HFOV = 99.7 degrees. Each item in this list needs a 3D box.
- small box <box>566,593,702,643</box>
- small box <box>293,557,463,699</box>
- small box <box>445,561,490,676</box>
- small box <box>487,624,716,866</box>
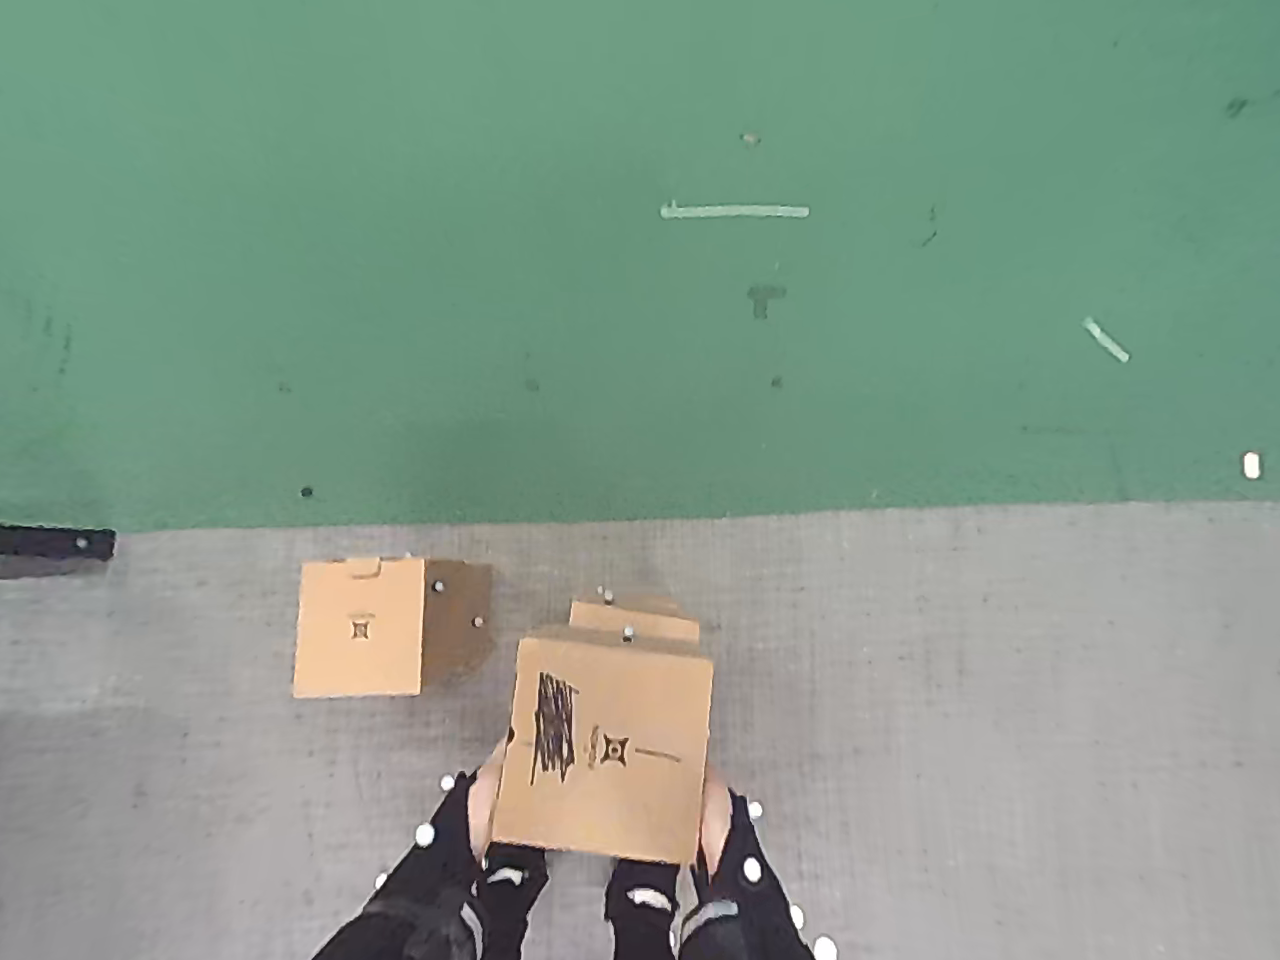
[{"bbox_3d":[-0.019,0.258,0.770,0.179,0.176,0.168,9,82,0],"label":"small box"},{"bbox_3d":[-0.362,0.202,0.778,0.168,0.176,0.179,-3,80,-1],"label":"small box"},{"bbox_3d":[-0.363,0.235,0.938,0.168,0.176,0.179,-4,82,-1],"label":"small box"},{"bbox_3d":[-0.029,0.236,0.527,0.179,0.176,0.168,6,79,1],"label":"small box"}]
